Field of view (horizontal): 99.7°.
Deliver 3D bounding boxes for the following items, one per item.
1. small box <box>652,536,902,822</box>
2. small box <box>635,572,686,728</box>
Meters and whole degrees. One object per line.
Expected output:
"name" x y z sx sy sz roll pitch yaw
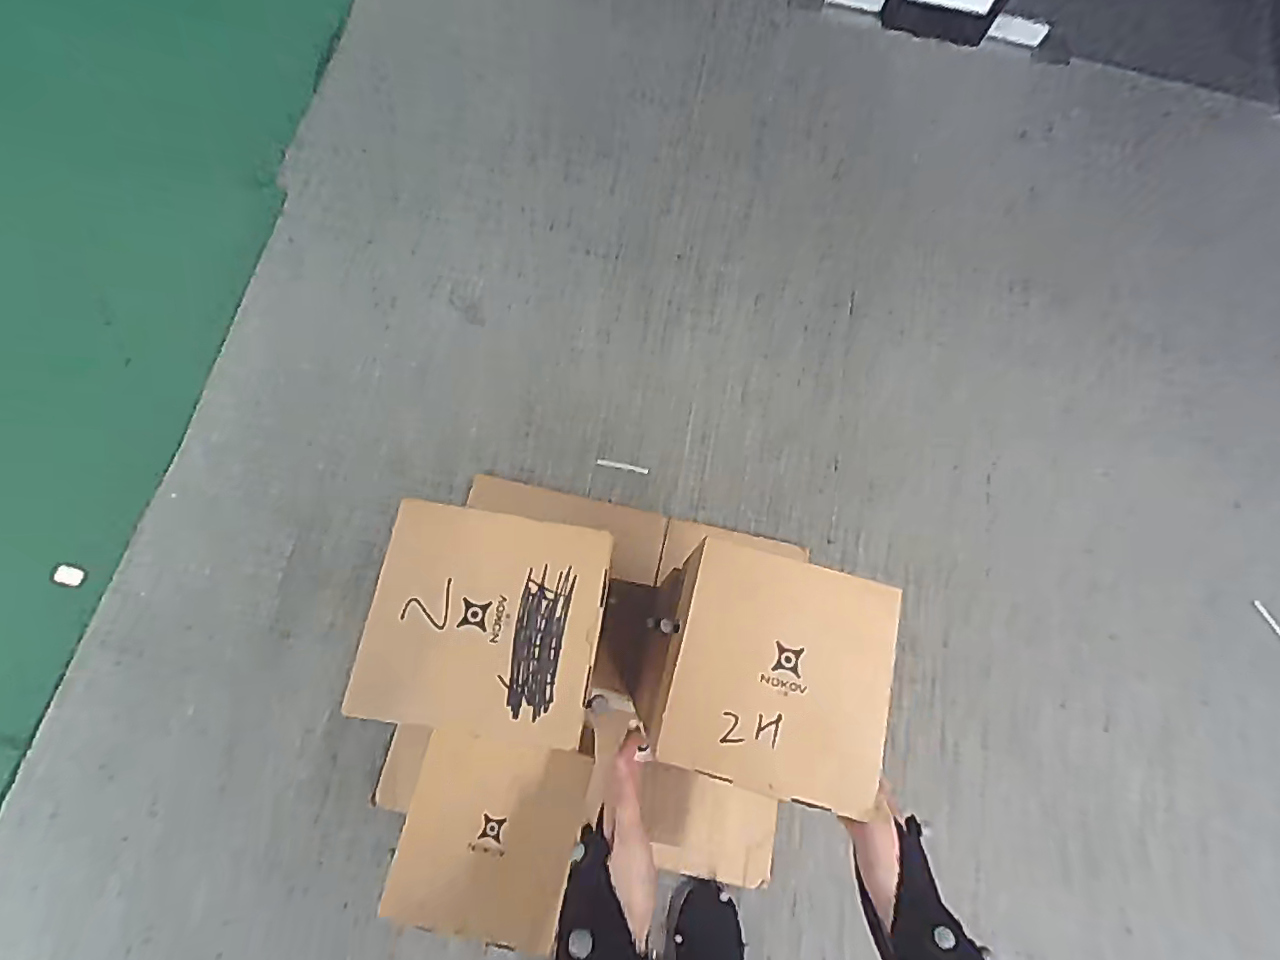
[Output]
"small box" 0.110 0.169 0.493 0.168 0.176 0.179 15 73 3
"small box" 0.098 0.219 0.652 0.179 0.176 0.168 14 73 2
